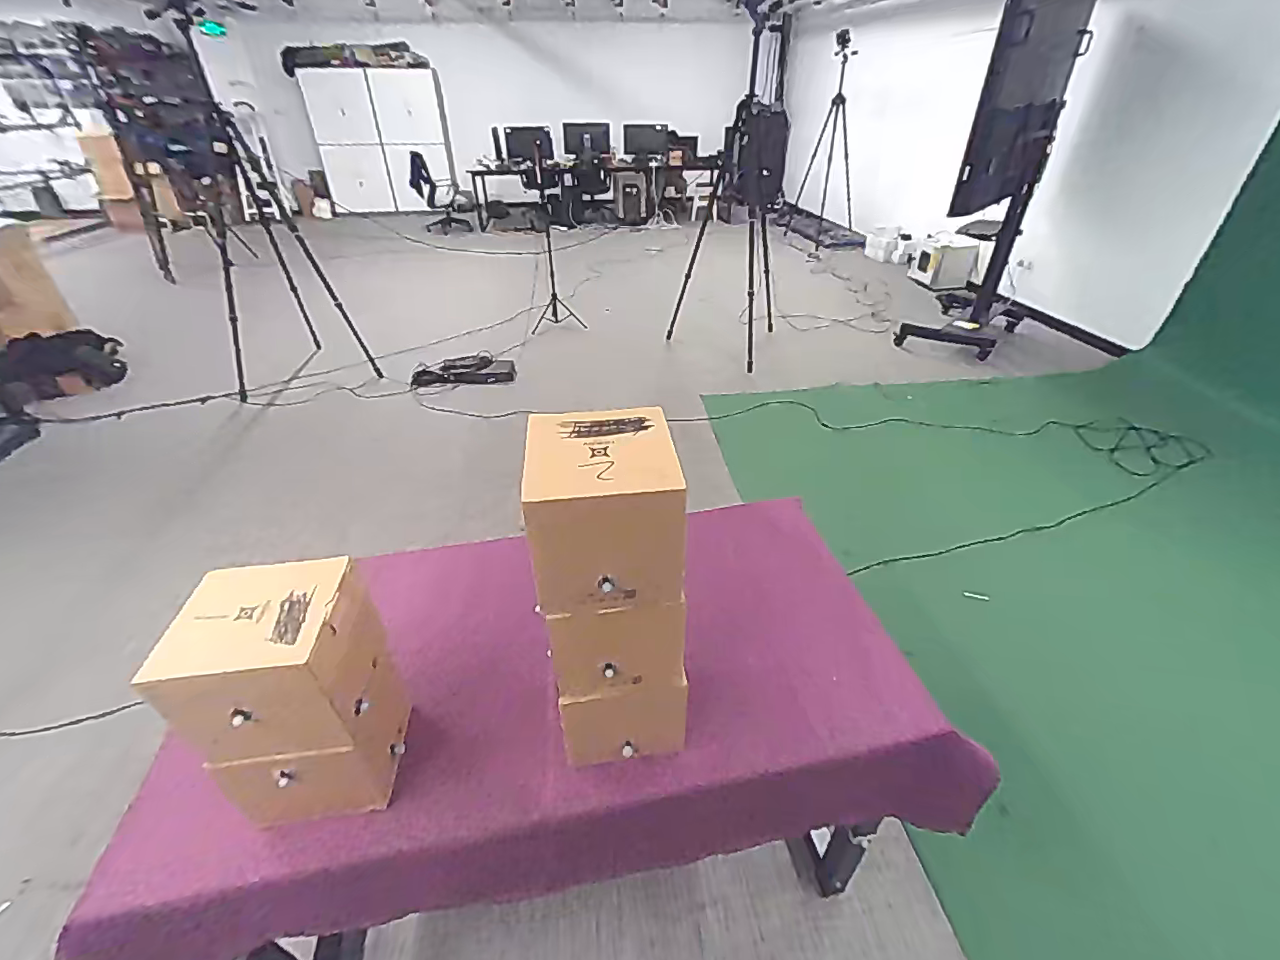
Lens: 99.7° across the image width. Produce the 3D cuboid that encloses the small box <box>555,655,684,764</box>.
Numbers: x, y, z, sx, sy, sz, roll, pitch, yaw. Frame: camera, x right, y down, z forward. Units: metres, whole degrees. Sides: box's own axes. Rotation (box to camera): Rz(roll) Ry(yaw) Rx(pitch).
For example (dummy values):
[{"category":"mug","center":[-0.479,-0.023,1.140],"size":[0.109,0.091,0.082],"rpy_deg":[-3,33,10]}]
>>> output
[{"category":"small box","center":[-0.038,0.307,0.831],"size":[0.179,0.176,0.168],"rpy_deg":[-5,35,-8]}]

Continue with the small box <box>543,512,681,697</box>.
[{"category":"small box","center":[-0.043,0.168,0.745],"size":[0.168,0.176,0.179],"rpy_deg":[-6,37,-7]}]

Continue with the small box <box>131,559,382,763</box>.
[{"category":"small box","center":[-0.447,0.223,0.672],"size":[0.179,0.176,0.168],"rpy_deg":[-6,36,-6]}]

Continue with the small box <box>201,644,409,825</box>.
[{"category":"small box","center":[-0.451,0.358,0.764],"size":[0.179,0.176,0.168],"rpy_deg":[-4,36,-7]}]
